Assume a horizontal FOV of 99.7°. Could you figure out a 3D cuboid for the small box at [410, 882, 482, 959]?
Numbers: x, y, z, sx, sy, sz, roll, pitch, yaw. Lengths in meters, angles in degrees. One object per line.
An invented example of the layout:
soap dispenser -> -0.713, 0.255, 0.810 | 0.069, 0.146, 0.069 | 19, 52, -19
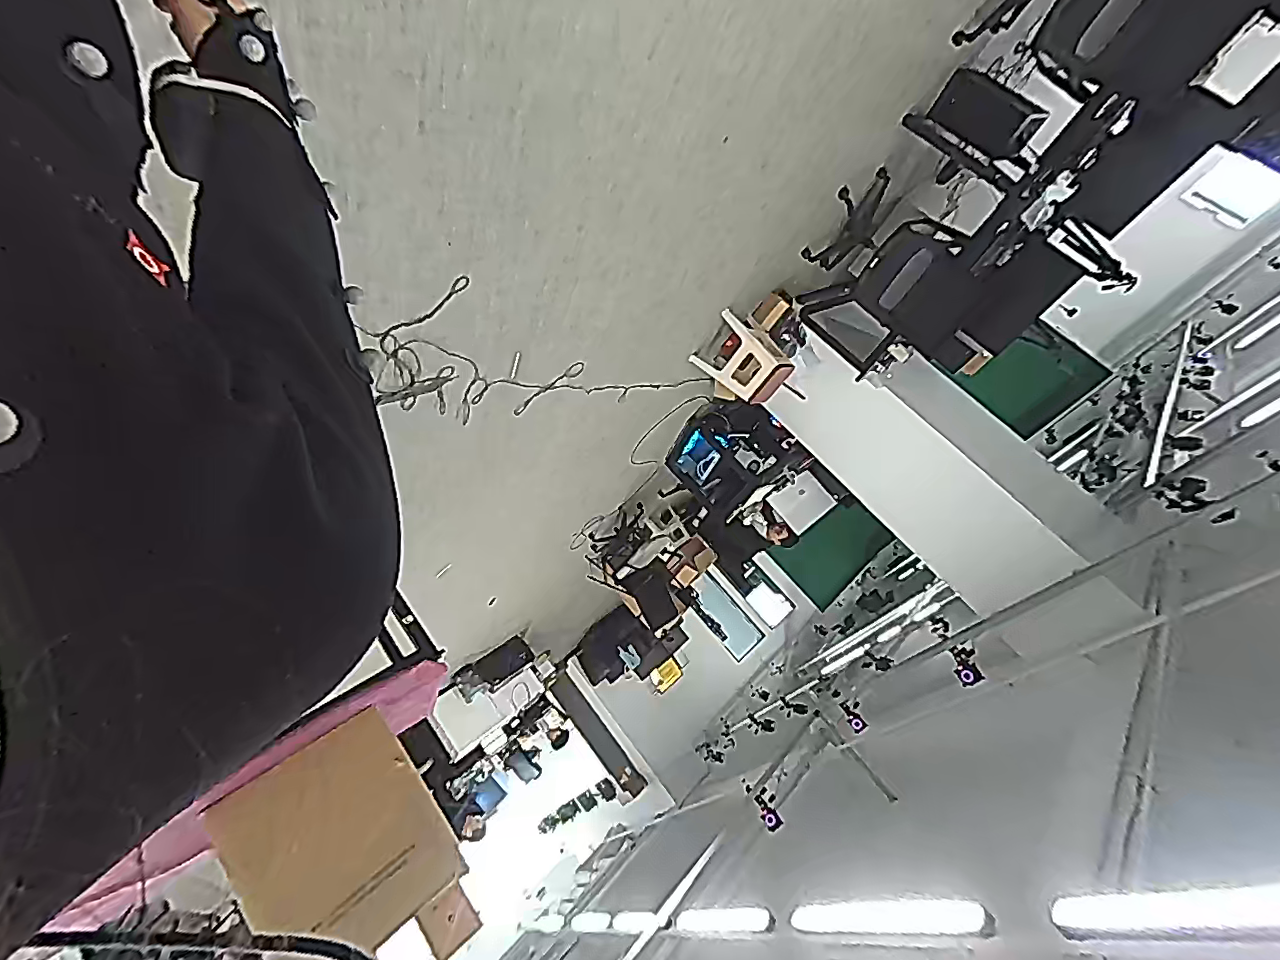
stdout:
small box -> -0.656, 1.496, 1.820 | 0.168, 0.176, 0.179 | -26, 157, -38
